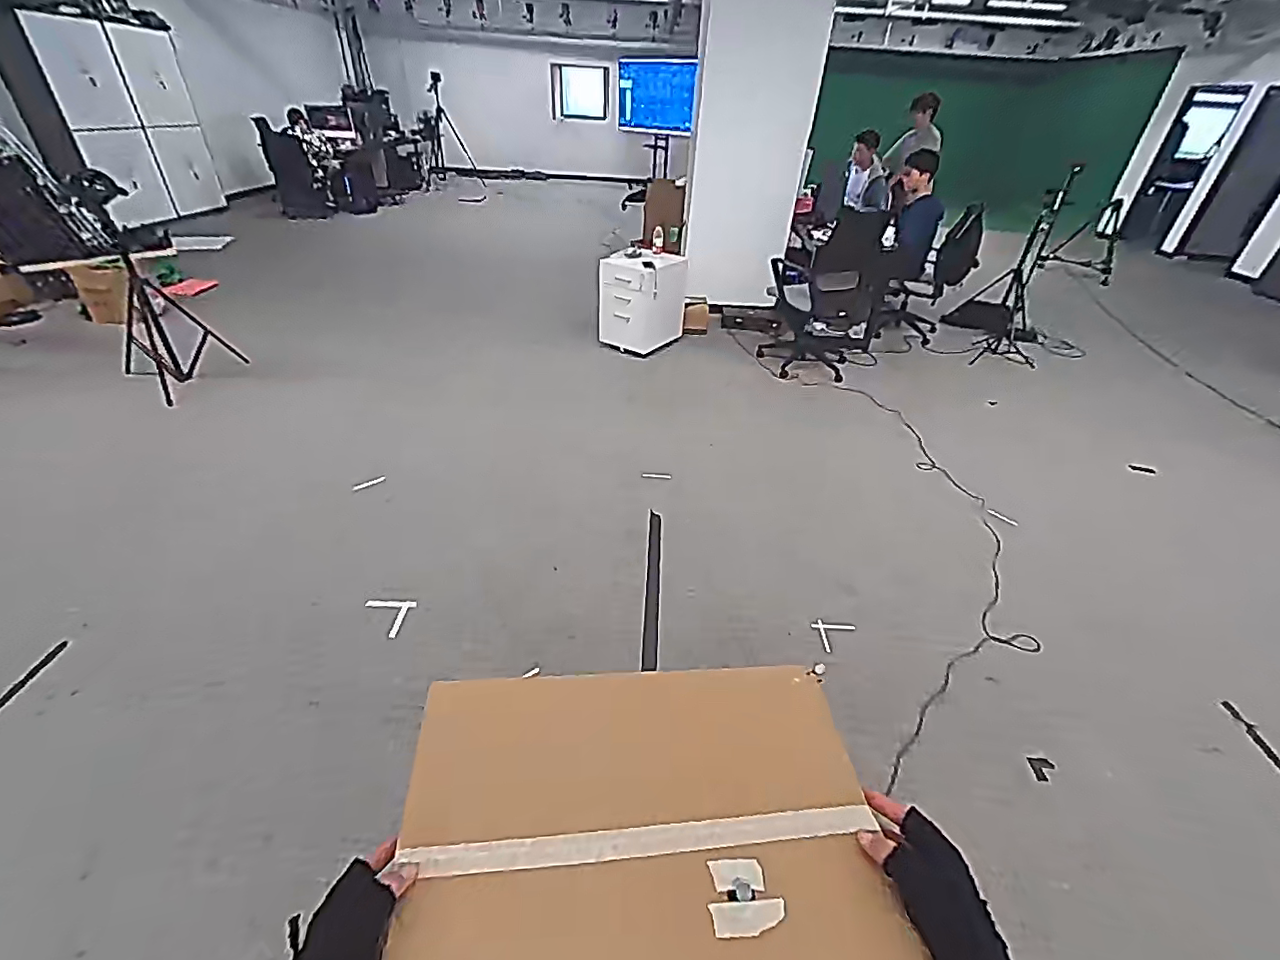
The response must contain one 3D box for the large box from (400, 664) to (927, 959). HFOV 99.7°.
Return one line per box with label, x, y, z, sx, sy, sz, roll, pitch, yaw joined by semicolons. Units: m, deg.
large box;-0.003;0.421;0.560;0.408;0.320;0.320;1;40;-9
